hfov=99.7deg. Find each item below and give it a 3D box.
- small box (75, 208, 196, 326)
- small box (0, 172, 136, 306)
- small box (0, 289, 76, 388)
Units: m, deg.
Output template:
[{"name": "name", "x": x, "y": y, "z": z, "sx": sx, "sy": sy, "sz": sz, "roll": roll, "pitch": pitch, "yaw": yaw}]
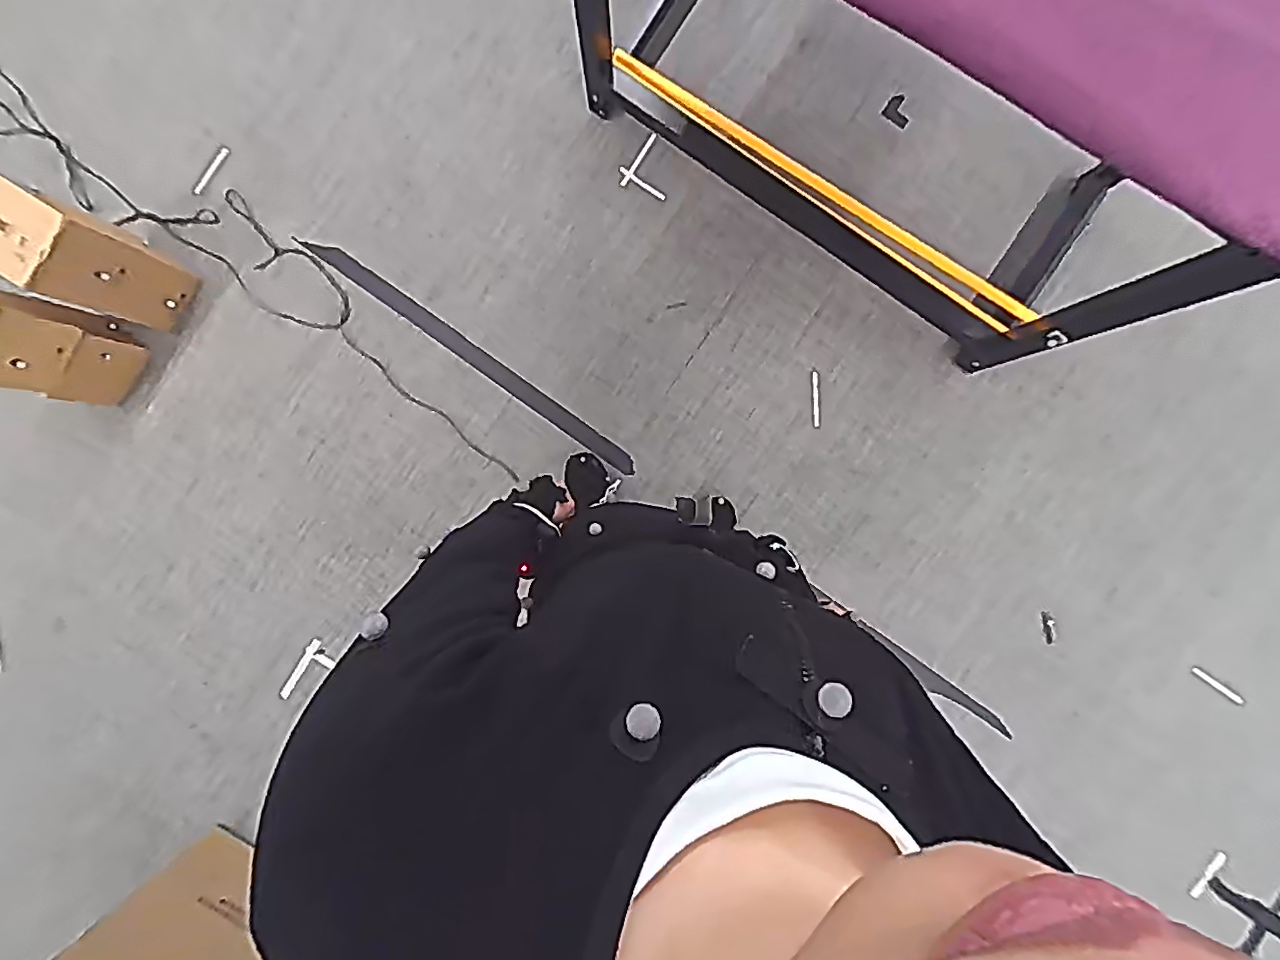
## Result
[{"name": "small box", "x": -1.223, "y": -0.489, "z": 1.275, "sx": 0.179, "sy": 0.176, "sz": 0.168, "roll": 34, "pitch": 91, "yaw": -2}, {"name": "small box", "x": -1.220, "y": -0.486, "z": 1.110, "sx": 0.179, "sy": 0.176, "sz": 0.168, "roll": 33, "pitch": 91, "yaw": -2}, {"name": "small box", "x": -1.351, "y": -0.304, "z": 1.116, "sx": 0.179, "sy": 0.176, "sz": 0.168, "roll": 29, "pitch": 91, "yaw": 0}]
